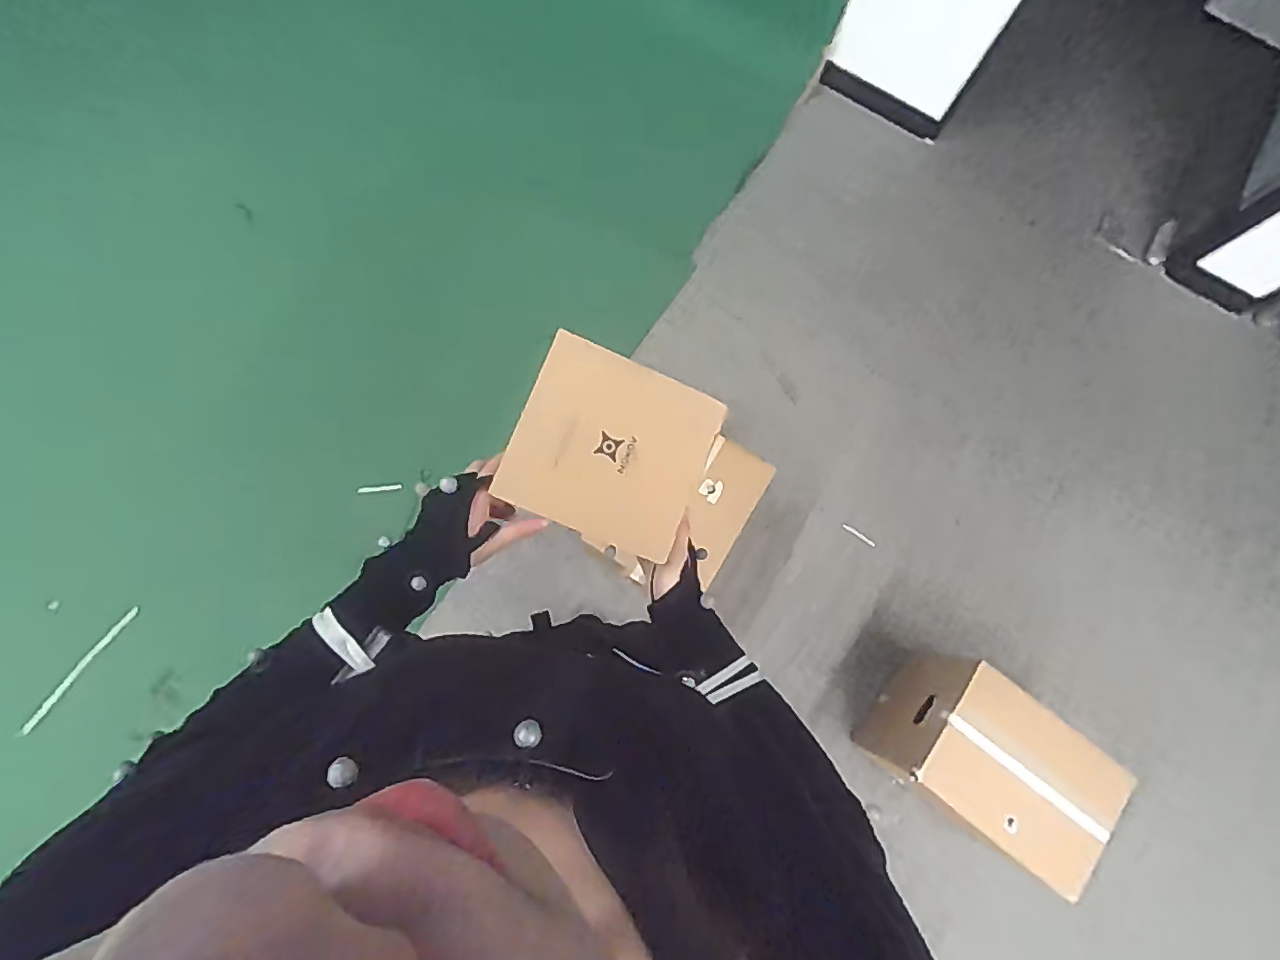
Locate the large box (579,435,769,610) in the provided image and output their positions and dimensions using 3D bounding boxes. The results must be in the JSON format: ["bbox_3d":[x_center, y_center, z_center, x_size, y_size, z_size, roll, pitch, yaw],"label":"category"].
[{"bbox_3d":[0.078,0.088,1.429,0.320,0.320,0.408,33,76,5],"label":"large box"}]

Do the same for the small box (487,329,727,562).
[{"bbox_3d":[-0.038,-0.030,0.573,0.179,0.176,0.168,24,85,-7],"label":"small box"}]
